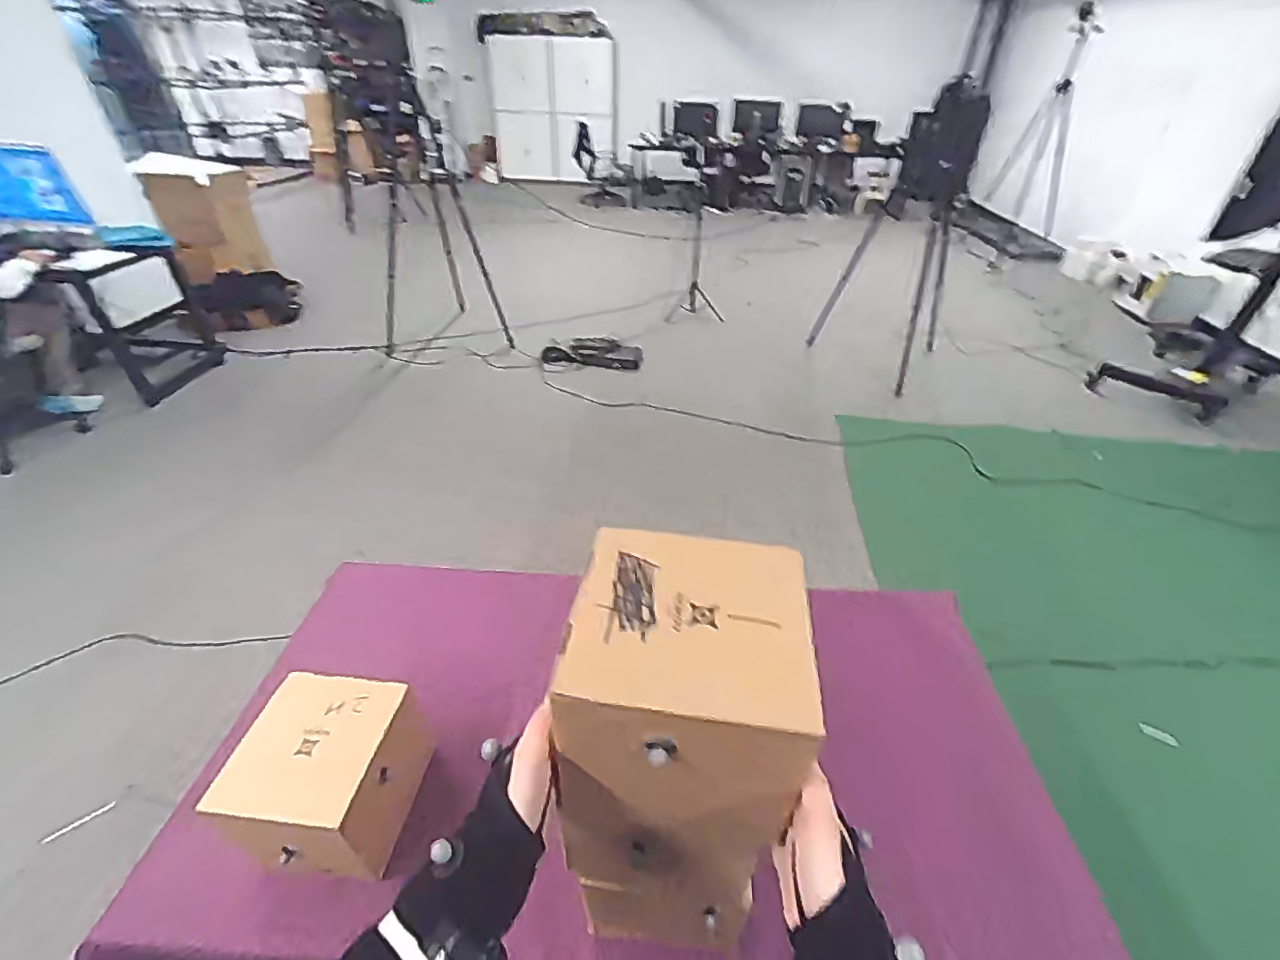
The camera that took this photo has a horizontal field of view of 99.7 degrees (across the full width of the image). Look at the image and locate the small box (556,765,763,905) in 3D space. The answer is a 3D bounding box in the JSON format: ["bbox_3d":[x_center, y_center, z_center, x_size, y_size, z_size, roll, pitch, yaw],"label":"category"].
[{"bbox_3d":[0.028,0.295,0.546,0.179,0.176,0.168,6,38,7],"label":"small box"}]

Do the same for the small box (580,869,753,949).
[{"bbox_3d":[0.033,0.427,0.645,0.179,0.176,0.168,4,37,4],"label":"small box"}]

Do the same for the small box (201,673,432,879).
[{"bbox_3d":[-0.390,0.379,0.695,0.168,0.176,0.179,5,37,5],"label":"small box"}]

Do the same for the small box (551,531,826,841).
[{"bbox_3d":[0.038,0.166,0.445,0.179,0.176,0.168,7,37,6],"label":"small box"}]
